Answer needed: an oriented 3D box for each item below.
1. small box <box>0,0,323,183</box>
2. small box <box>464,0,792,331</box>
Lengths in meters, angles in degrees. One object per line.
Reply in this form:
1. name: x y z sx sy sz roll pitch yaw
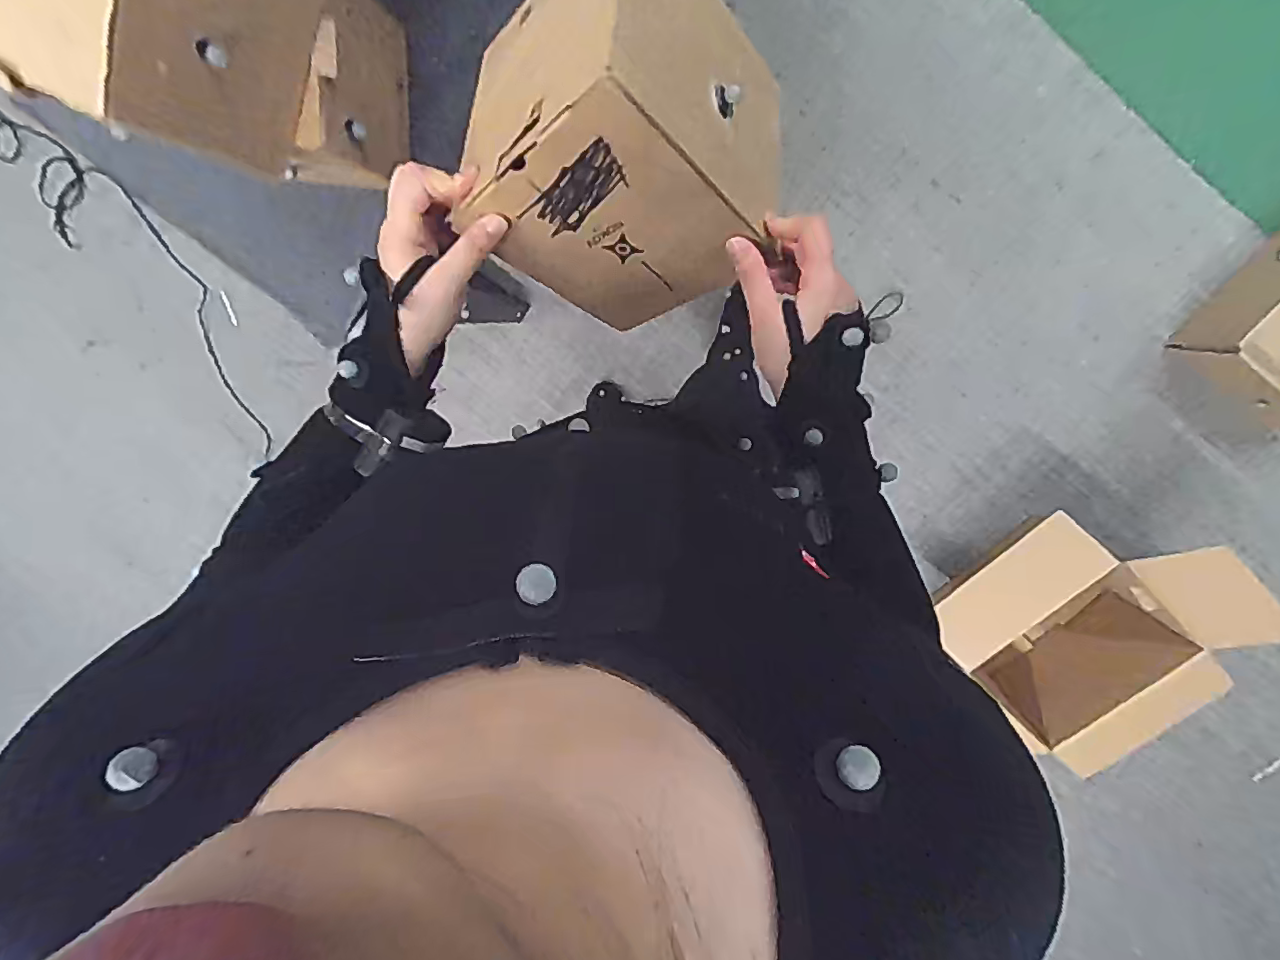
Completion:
1. small box: -0.381 -0.361 0.415 0.168 0.176 0.179 24 107 -1
2. small box: -0.003 -0.248 0.407 0.168 0.179 0.176 -12 66 44
